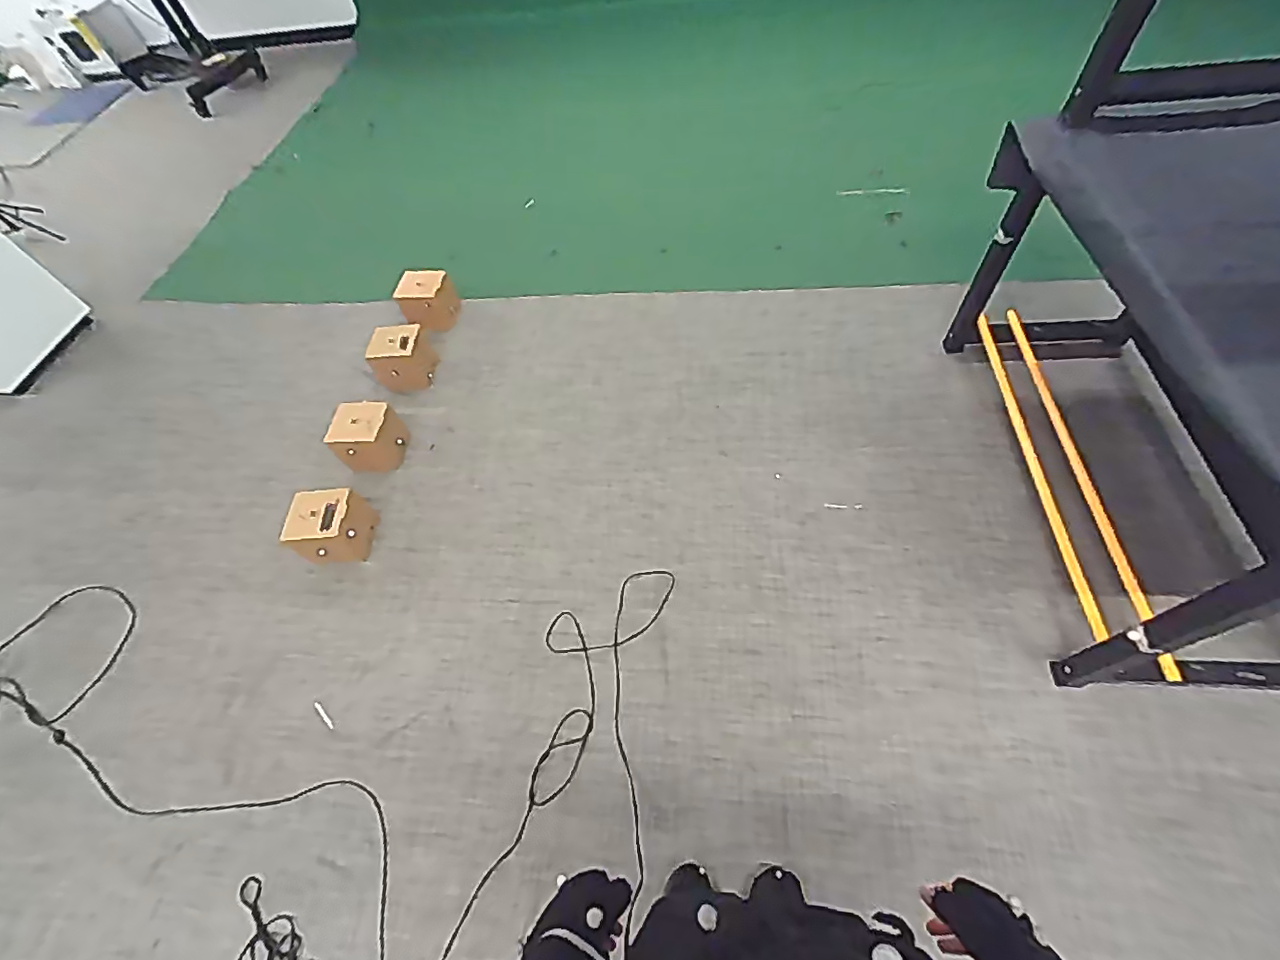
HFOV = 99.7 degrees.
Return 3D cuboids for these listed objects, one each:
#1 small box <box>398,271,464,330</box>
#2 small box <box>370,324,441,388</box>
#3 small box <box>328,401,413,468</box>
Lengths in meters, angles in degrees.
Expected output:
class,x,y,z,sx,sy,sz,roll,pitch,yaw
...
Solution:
class,x,y,z,sx,sy,sz,roll,pitch,yaw
small box,-0.853,-0.735,2.220,0.179,0.176,0.168,2,58,7
small box,-0.879,-0.465,2.044,0.179,0.176,0.168,-3,57,5
small box,-0.908,-0.151,1.840,0.179,0.176,0.168,0,58,5
